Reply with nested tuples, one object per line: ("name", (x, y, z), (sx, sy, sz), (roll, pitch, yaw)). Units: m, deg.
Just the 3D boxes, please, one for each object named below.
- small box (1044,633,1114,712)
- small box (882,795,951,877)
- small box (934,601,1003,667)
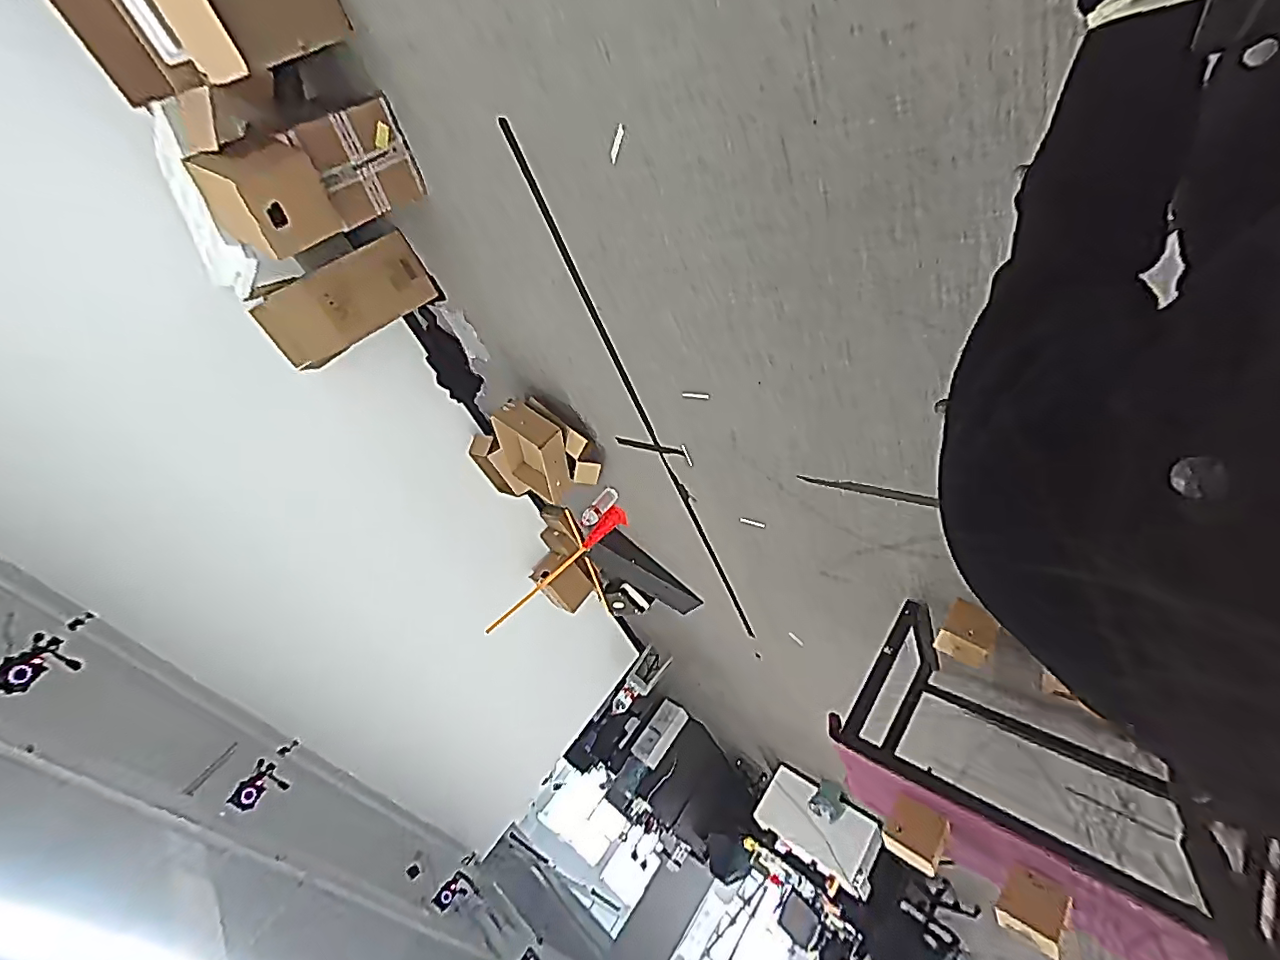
("small box", (1.580, 0.689, 1.945), (0.168, 0.176, 0.179), (13, 141, 45))
("small box", (1.012, 1.290, 1.976), (0.179, 0.176, 0.168), (15, 144, 43))
("small box", (1.328, 0.615, 2.187), (0.179, 0.176, 0.168), (25, 148, 30))
